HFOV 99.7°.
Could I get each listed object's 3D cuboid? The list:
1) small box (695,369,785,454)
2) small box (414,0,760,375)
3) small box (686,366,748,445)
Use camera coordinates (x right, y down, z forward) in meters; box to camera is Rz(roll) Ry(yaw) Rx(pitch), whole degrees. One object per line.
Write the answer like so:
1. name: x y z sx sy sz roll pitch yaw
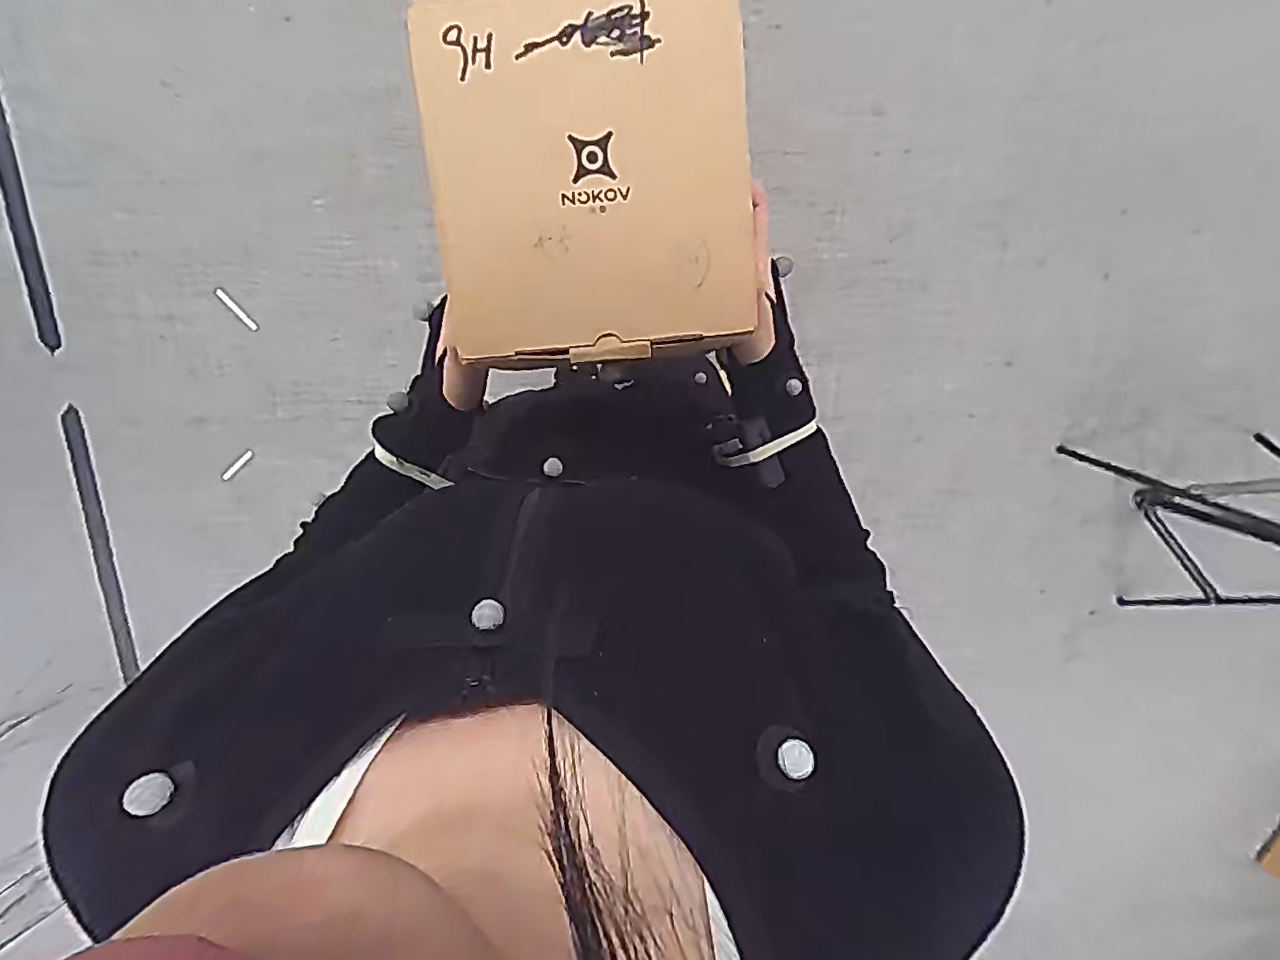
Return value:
1. small box: 0.218 -0.160 1.220 0.168 0.176 0.179 -2 104 -3
2. small box: -0.025 -0.166 0.356 0.168 0.176 0.179 -6 101 -3
3. small box: 0.210 -0.195 1.382 0.168 0.176 0.179 -4 105 -2
